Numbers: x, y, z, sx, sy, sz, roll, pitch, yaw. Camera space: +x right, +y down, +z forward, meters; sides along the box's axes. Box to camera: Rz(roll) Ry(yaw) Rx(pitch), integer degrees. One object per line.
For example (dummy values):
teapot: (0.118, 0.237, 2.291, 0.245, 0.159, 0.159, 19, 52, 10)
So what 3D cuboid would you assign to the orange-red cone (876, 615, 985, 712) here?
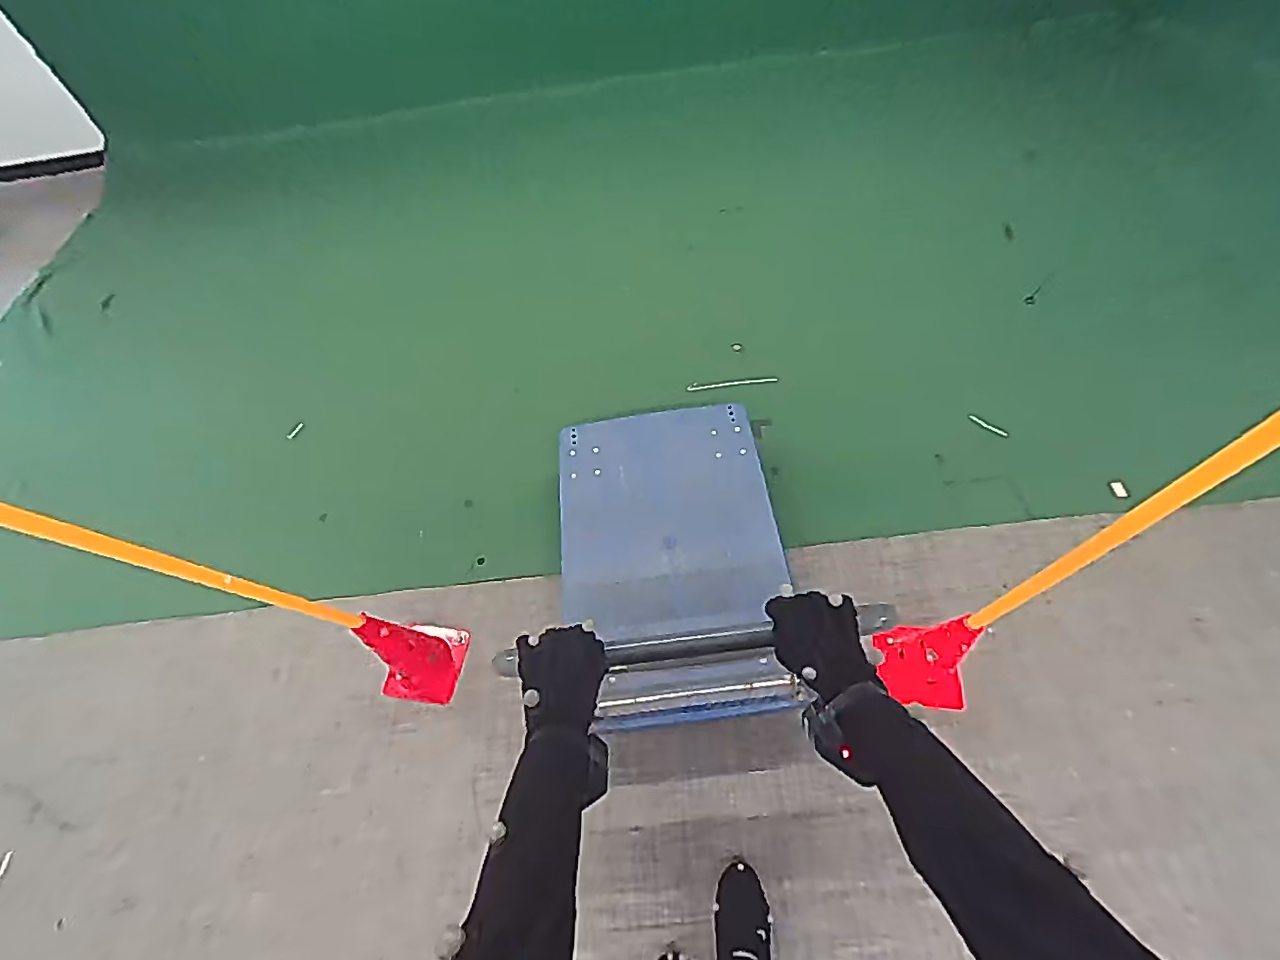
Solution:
orange-red cone: (0.681, 0.380, 1.211, 0.198, 0.360, 0.199, 2, 58, 9)
